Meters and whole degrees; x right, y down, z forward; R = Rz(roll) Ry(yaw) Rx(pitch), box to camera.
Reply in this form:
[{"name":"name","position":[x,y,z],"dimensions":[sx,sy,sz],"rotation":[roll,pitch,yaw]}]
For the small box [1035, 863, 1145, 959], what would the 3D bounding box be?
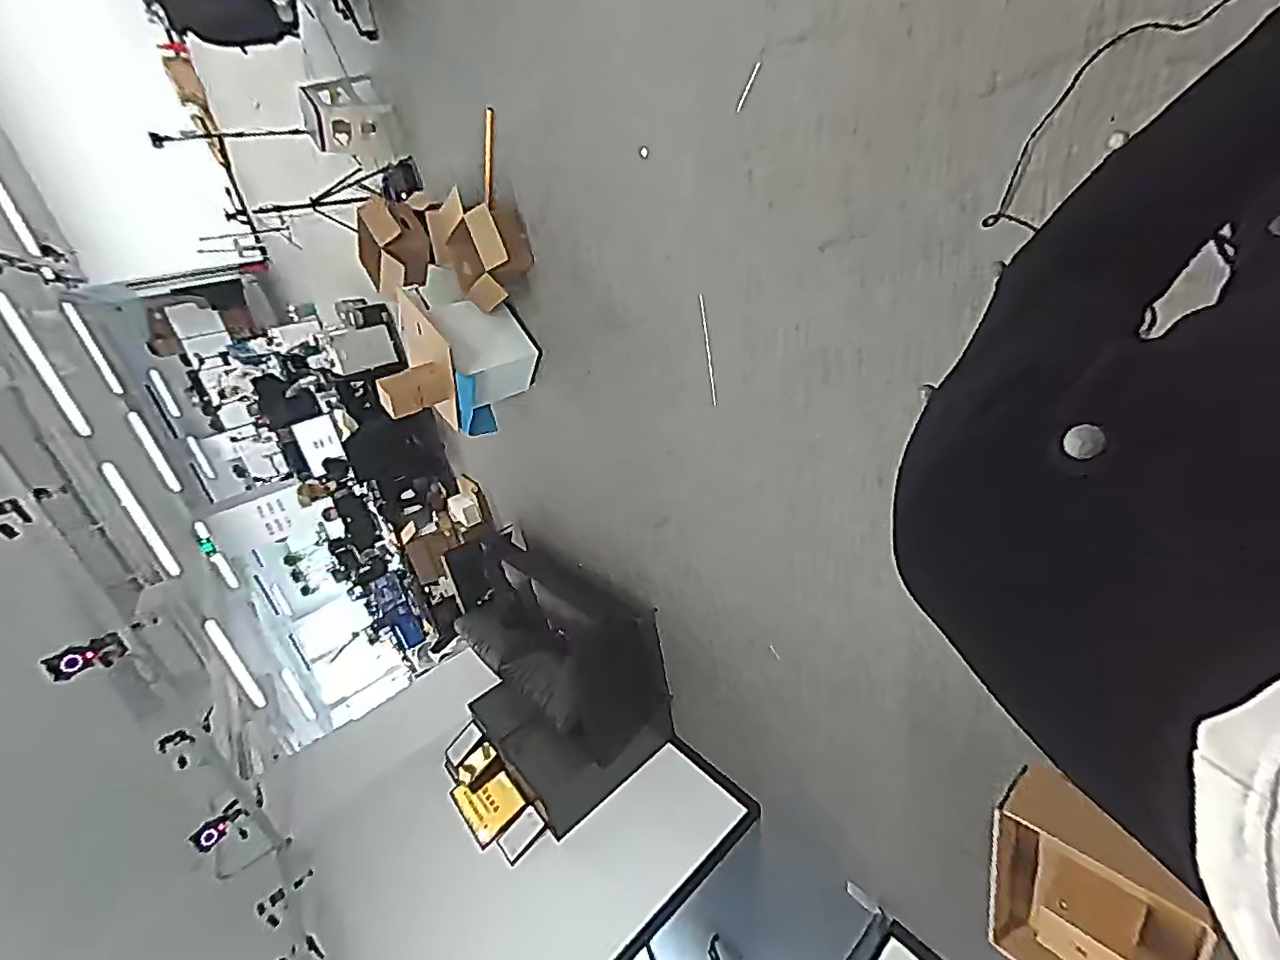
[{"name":"small box","position":[1.133,1.128,1.363],"dimensions":[0.179,0.176,0.168],"rotation":[16,127,50]}]
